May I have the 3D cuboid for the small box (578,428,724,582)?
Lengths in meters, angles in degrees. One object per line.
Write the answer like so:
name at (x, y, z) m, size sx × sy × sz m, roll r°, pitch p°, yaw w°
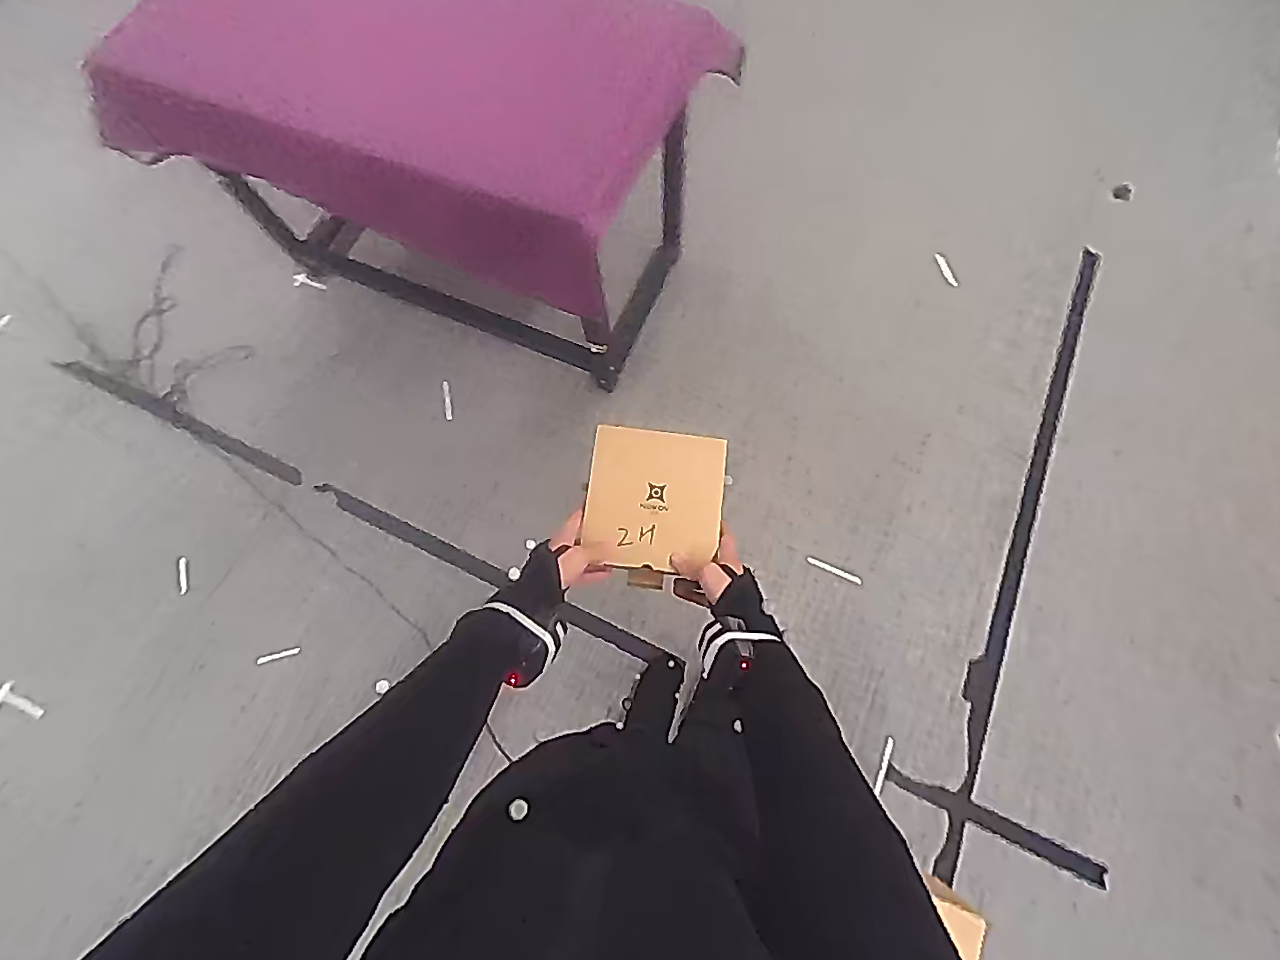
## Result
small box at (0.014, 0.039, 0.745) m, size 0.168 × 0.176 × 0.179 m, roll 6°, pitch 83°, yaw 2°
